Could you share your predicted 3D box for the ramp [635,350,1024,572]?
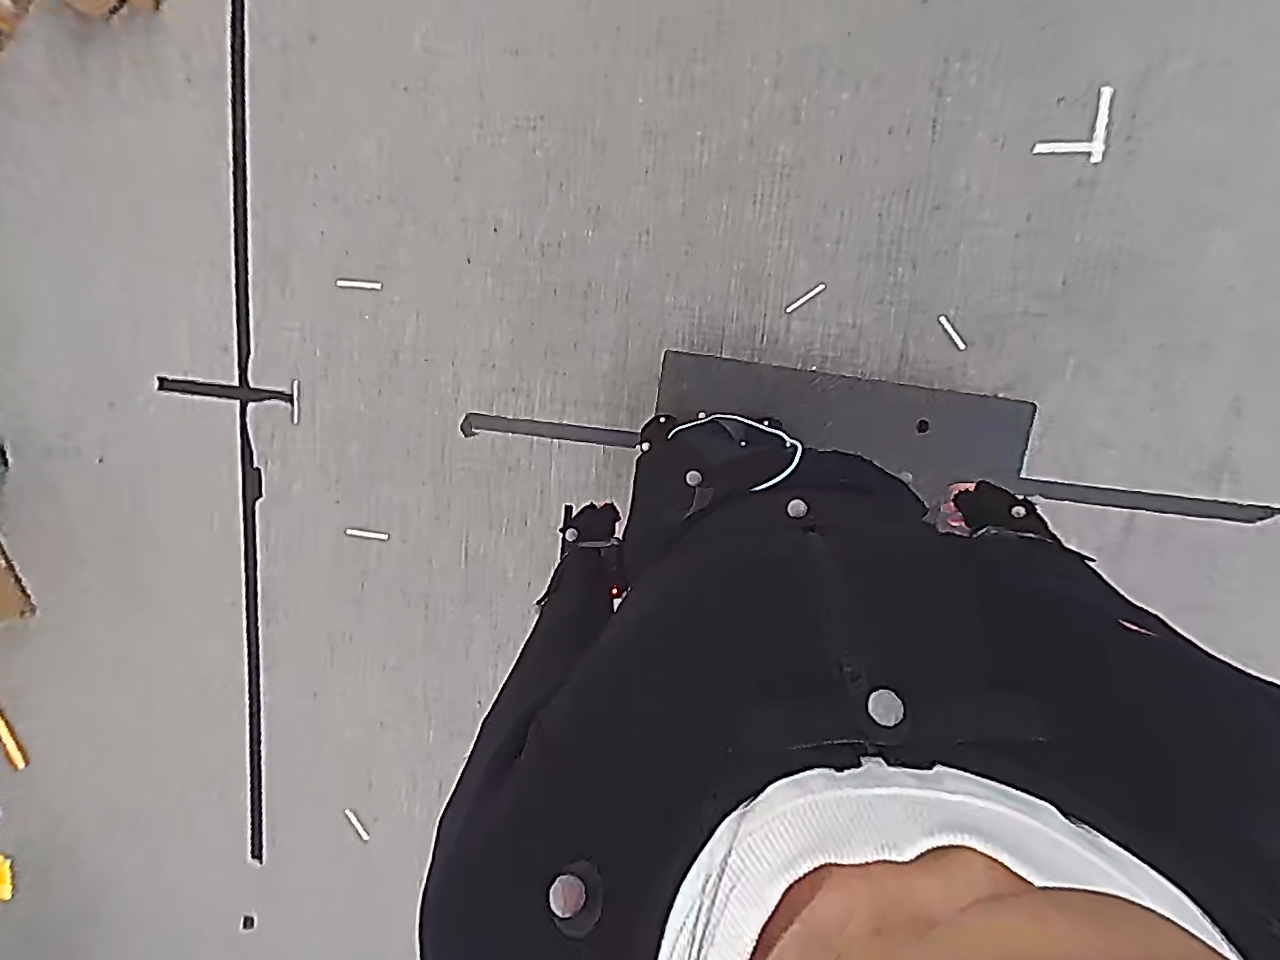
[{"bbox_3d":[0.507,-0.041,1.456,0.991,0.206,0.509,7,98,7],"label":"ramp"}]
